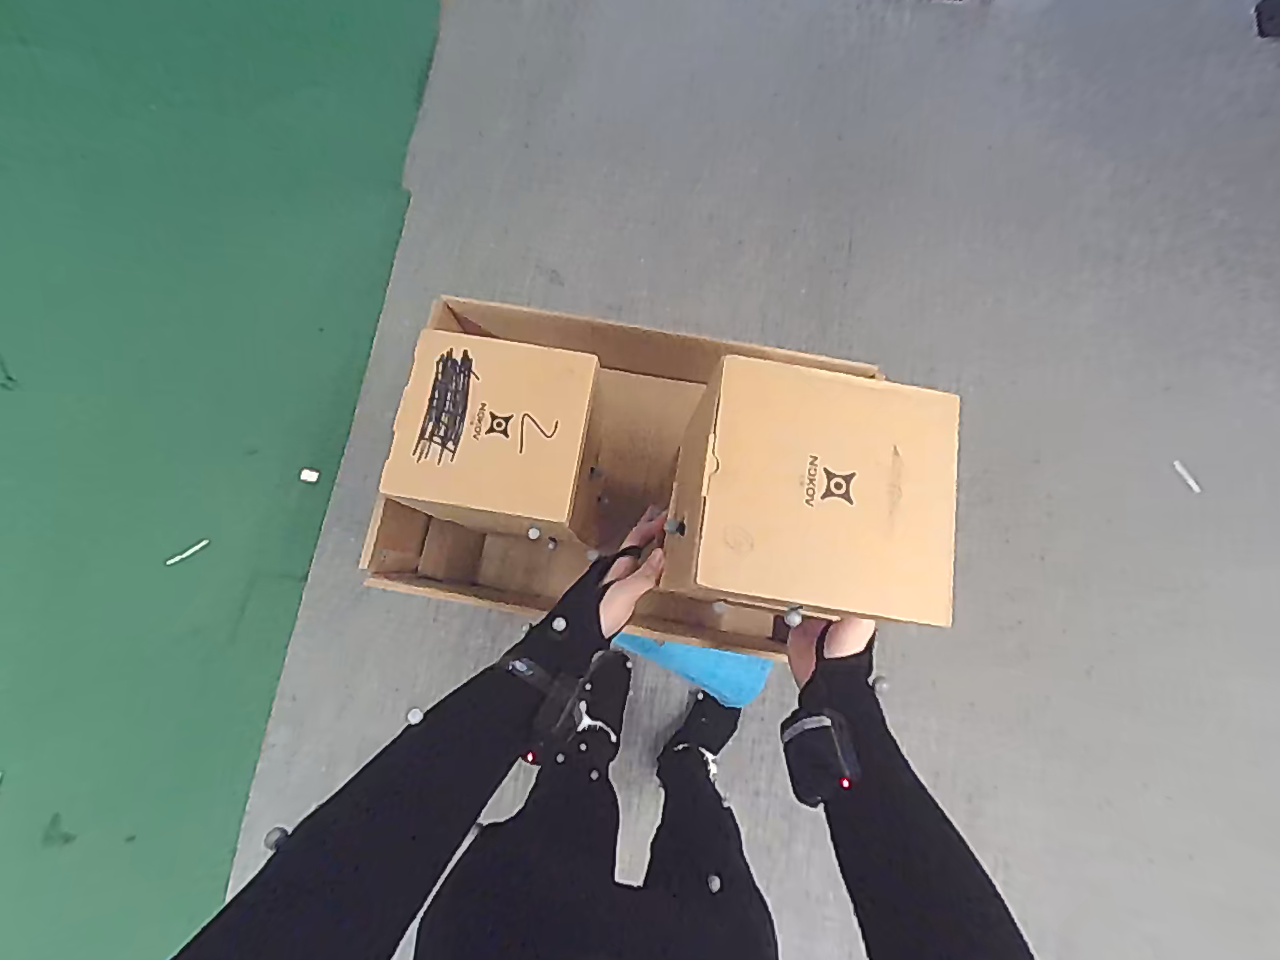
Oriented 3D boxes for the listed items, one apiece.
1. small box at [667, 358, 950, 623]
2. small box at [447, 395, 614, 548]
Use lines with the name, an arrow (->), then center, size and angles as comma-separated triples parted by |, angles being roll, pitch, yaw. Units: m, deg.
small box -> 0.122, 0.020, 0.449 | 0.179, 0.176, 0.168 | 9, 78, -1
small box -> -0.137, -0.002, 0.747 | 0.179, 0.176, 0.168 | 9, 78, 1
